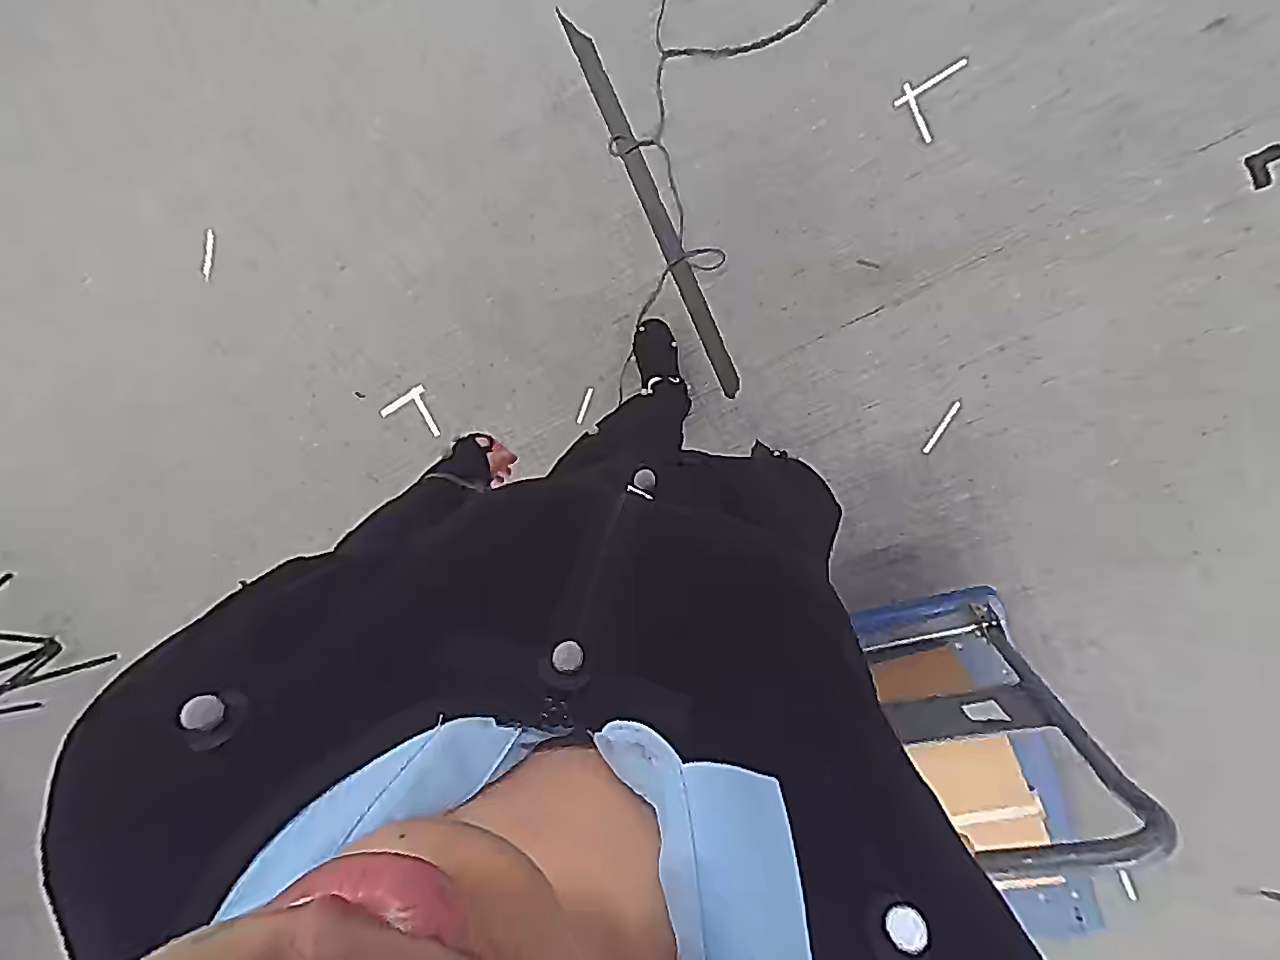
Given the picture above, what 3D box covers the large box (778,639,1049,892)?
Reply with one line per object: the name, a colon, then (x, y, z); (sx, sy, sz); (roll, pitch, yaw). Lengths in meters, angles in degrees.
large box: (0.545, 0.596, 1.165); (0.408, 0.320, 0.320); (-23, 94, 18)
